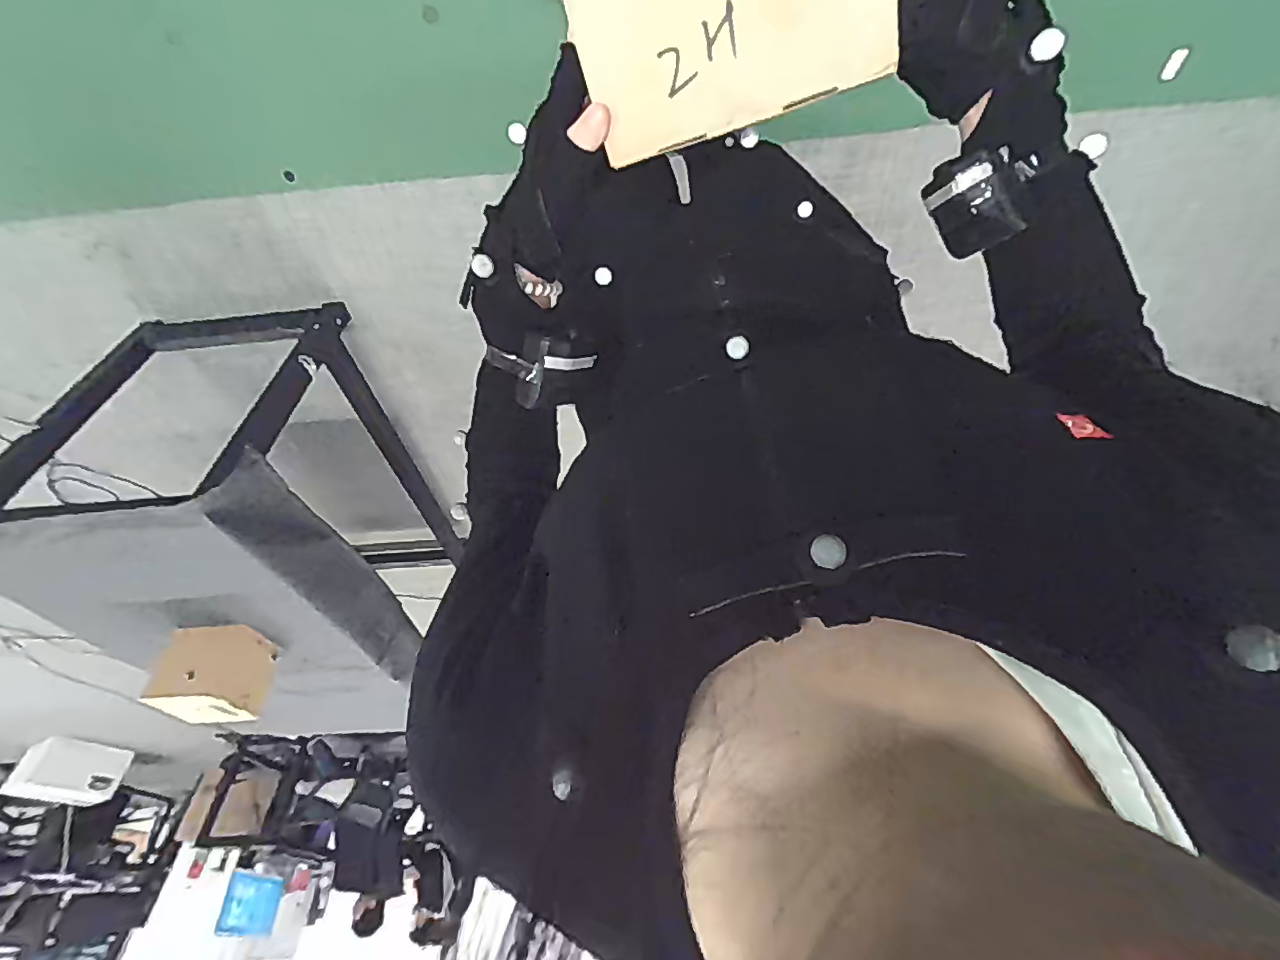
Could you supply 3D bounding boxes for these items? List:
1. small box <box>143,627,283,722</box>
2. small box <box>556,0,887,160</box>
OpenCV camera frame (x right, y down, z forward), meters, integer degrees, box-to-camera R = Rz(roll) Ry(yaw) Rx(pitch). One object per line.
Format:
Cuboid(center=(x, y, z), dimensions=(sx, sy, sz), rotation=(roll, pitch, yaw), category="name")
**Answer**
Cuboid(center=(-0.987, 0.457, 1.277), dimensions=(0.179, 0.176, 0.168), rotation=(-4, 138, 5), category="small box")
Cuboid(center=(0.044, -0.319, 0.331), dimensions=(0.168, 0.176, 0.179), rotation=(-8, 121, 18), category="small box")
